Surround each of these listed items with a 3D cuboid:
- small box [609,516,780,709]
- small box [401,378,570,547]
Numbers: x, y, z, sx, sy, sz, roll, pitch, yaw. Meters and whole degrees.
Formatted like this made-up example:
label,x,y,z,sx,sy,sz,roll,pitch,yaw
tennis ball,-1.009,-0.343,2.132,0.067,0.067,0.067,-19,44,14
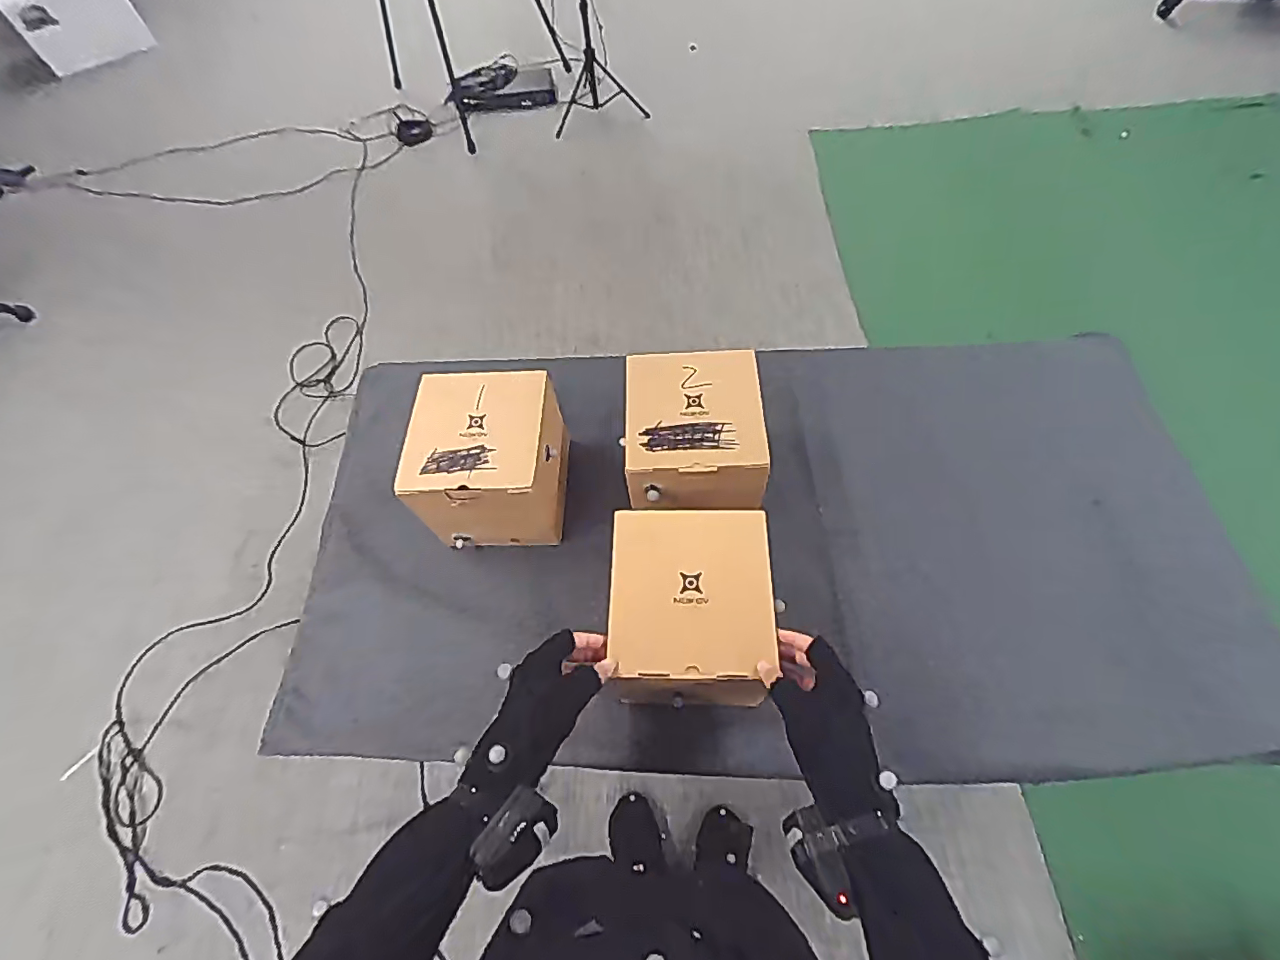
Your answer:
label,x,y,z,sx,sy,sz,roll,pitch,yaw
small box,0.058,0.156,0.622,0.168,0.176,0.179,0,60,4
small box,-0.192,-0.016,0.734,0.168,0.176,0.179,-1,60,3
